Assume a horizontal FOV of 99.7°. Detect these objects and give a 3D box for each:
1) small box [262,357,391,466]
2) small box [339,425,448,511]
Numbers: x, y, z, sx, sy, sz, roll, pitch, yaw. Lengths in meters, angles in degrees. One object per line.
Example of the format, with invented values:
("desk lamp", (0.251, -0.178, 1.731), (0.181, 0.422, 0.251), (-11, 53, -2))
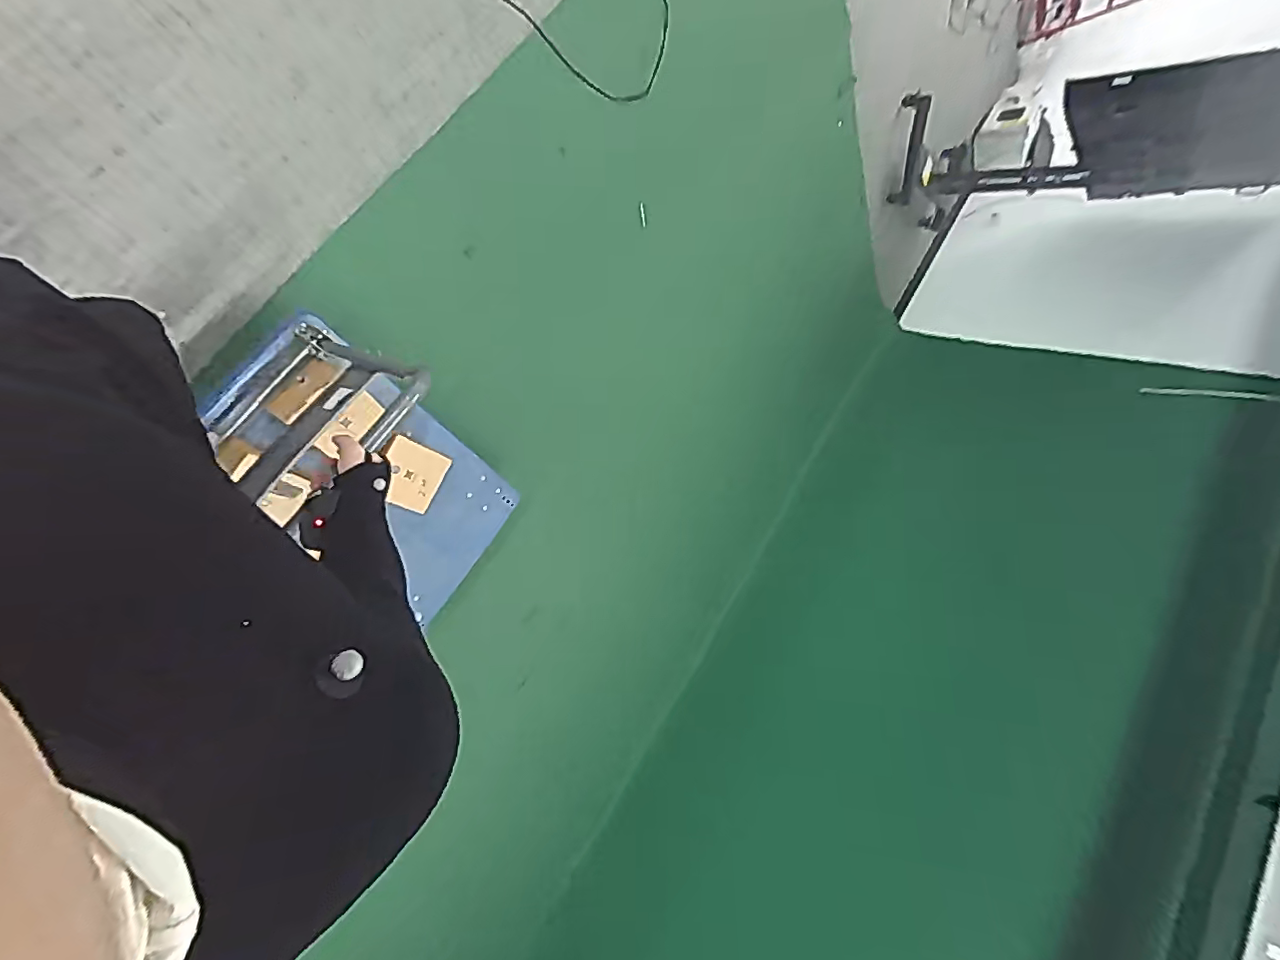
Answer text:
("small box", (-0.736, -0.166, 1.272), (0.168, 0.176, 0.179), (-52, 140, -18))
("small box", (-0.654, -0.042, 1.428), (0.179, 0.176, 0.168), (35, 81, -52))
